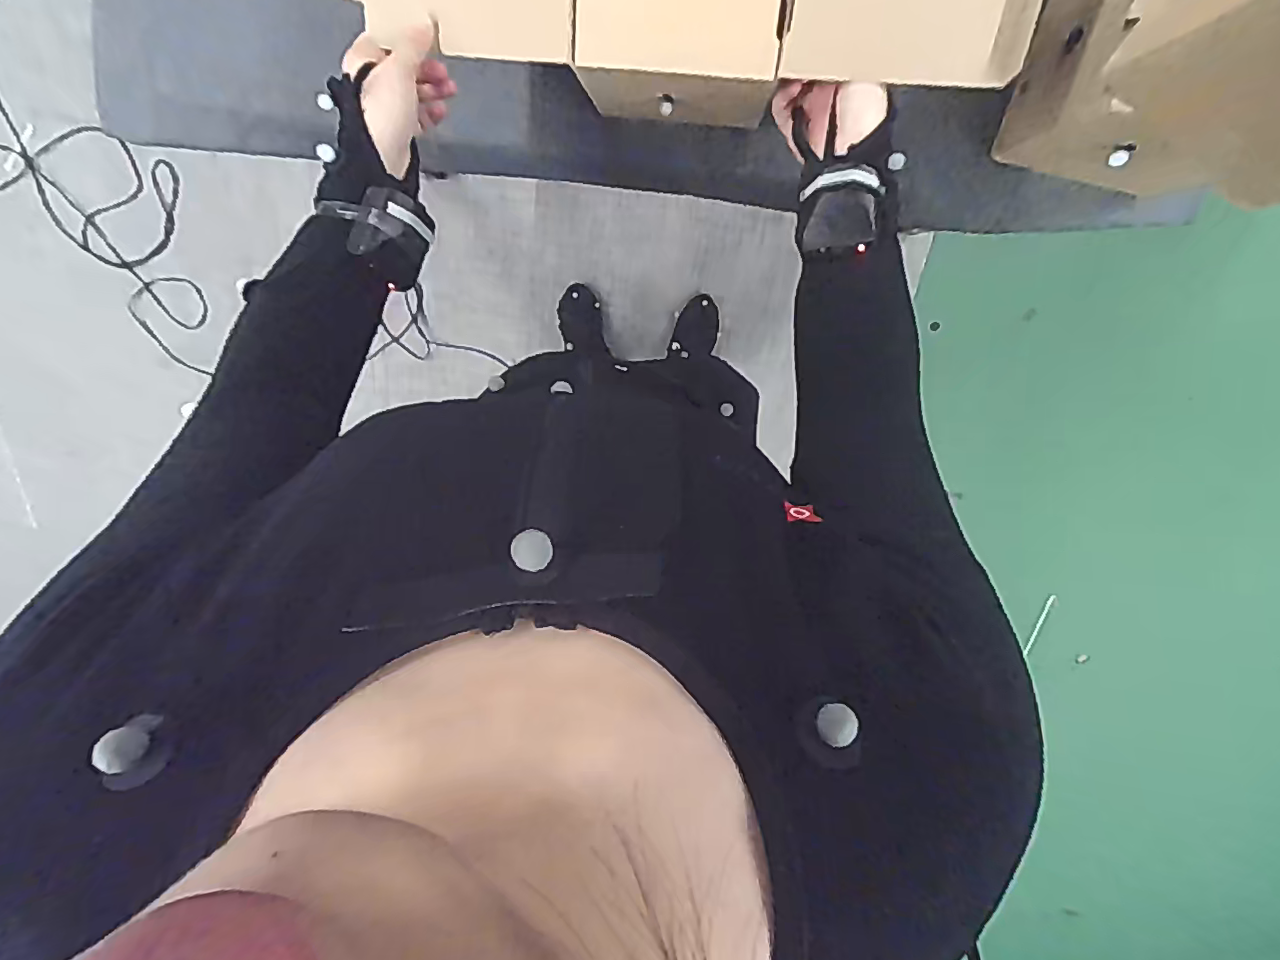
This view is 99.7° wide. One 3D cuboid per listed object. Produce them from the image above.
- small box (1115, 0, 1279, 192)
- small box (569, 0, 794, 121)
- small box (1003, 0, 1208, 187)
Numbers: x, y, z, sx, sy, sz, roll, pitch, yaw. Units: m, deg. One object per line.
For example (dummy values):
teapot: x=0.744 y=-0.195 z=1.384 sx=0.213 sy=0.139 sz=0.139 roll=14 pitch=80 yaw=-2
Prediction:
small box: x=0.464 y=-0.306 z=0.328 sx=0.179 sy=0.176 sz=0.168 roll=33 pitch=108 yaw=-9
small box: x=0.042 y=-0.438 z=0.482 sx=0.179 sy=0.176 sz=0.168 roll=7 pitch=112 yaw=4
small box: x=0.472 y=-0.376 z=0.477 sx=0.179 sy=0.176 sz=0.168 roll=13 pitch=109 yaw=-1
